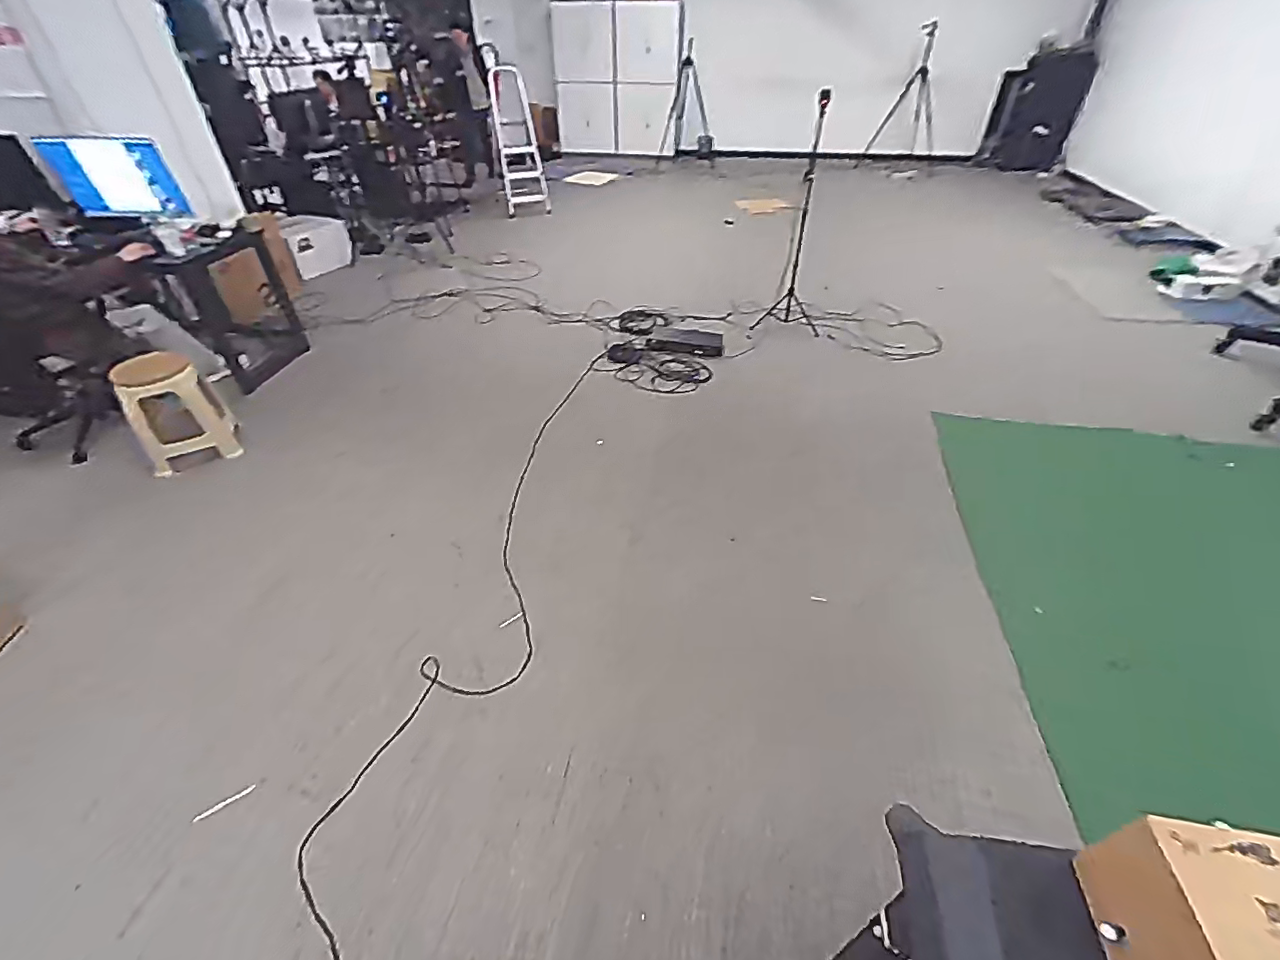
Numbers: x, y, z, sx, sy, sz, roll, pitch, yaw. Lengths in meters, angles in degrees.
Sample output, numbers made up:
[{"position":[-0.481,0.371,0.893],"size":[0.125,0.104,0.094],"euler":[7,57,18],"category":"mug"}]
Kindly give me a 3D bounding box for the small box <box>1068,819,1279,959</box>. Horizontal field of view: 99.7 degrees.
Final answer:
[{"position":[0.635,0.516,0.600],"size":[0.168,0.176,0.179],"euler":[8,41,6],"category":"small box"}]
